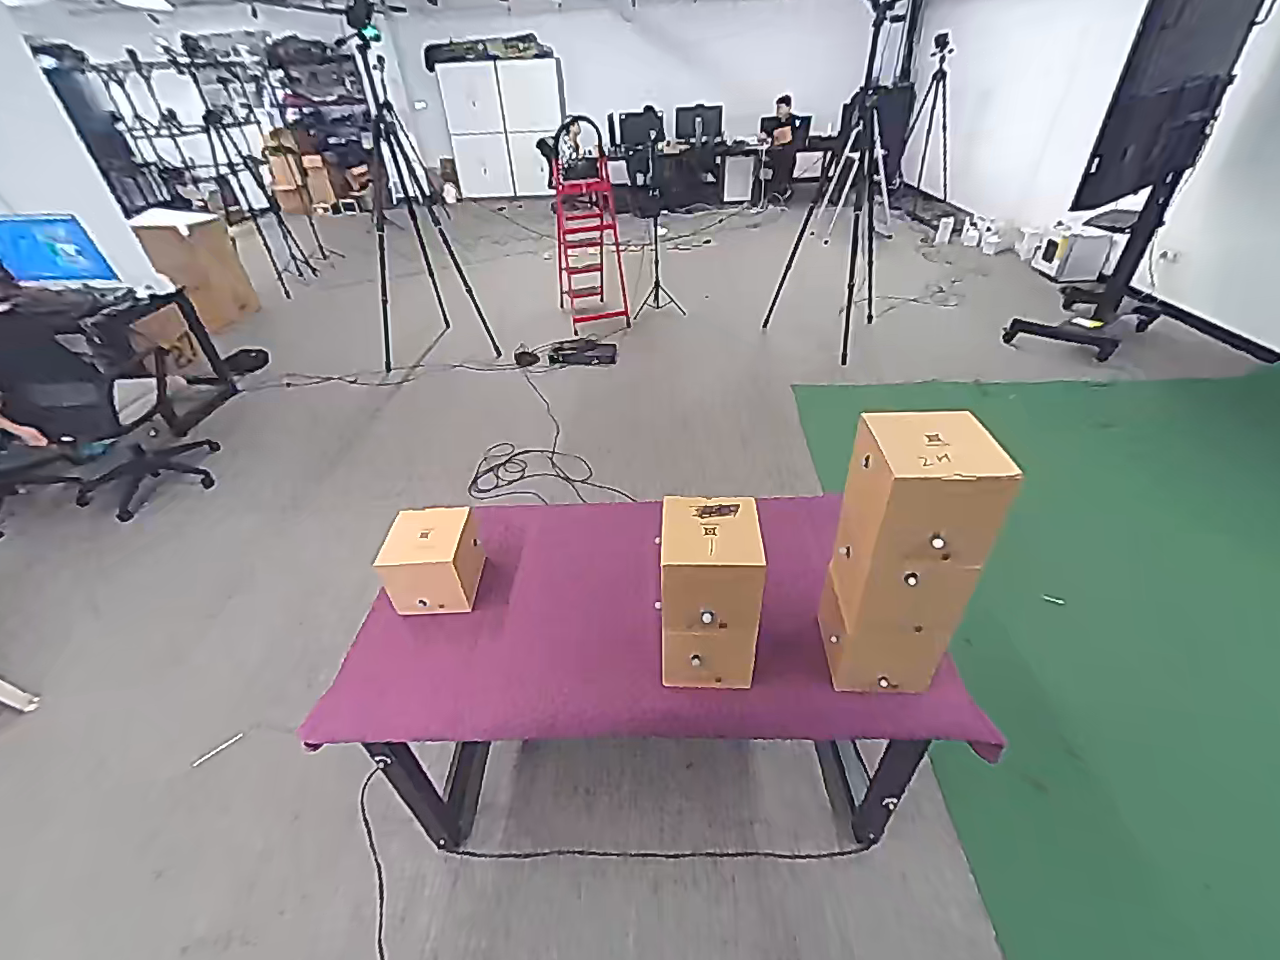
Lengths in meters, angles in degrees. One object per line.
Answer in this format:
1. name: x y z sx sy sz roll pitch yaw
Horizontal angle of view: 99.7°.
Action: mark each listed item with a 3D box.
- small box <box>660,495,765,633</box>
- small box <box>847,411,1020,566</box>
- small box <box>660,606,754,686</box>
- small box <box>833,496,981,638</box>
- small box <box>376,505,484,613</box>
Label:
1. small box: 0.122 0.145 0.952 0.168 0.176 0.179 0 37 5
2. small box: 0.428 0.010 0.828 0.168 0.176 0.179 -1 37 6
3. small box: 0.128 0.278 1.048 0.168 0.176 0.179 0 36 5
4. small box: 0.438 0.144 0.923 0.168 0.176 0.179 0 36 6
5. small box: -0.462 0.177 1.222 0.168 0.176 0.179 -3 38 1
